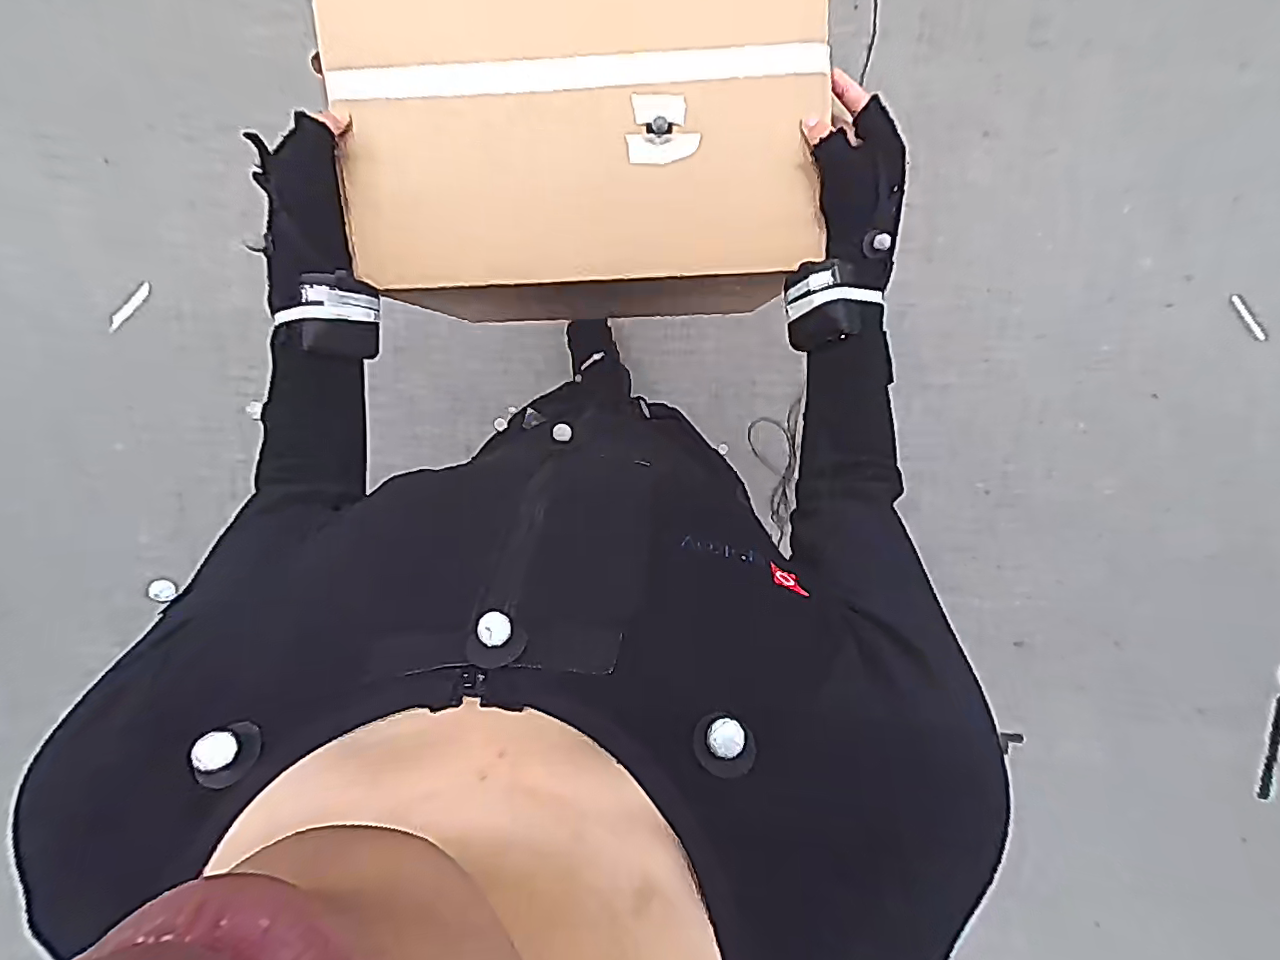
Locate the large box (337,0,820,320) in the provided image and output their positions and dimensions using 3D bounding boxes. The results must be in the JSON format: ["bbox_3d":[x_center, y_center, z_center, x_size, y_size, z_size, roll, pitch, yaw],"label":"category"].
[{"bbox_3d":[-0.049,-0.364,0.601,0.408,0.320,0.320,-2,101,1],"label":"large box"}]
